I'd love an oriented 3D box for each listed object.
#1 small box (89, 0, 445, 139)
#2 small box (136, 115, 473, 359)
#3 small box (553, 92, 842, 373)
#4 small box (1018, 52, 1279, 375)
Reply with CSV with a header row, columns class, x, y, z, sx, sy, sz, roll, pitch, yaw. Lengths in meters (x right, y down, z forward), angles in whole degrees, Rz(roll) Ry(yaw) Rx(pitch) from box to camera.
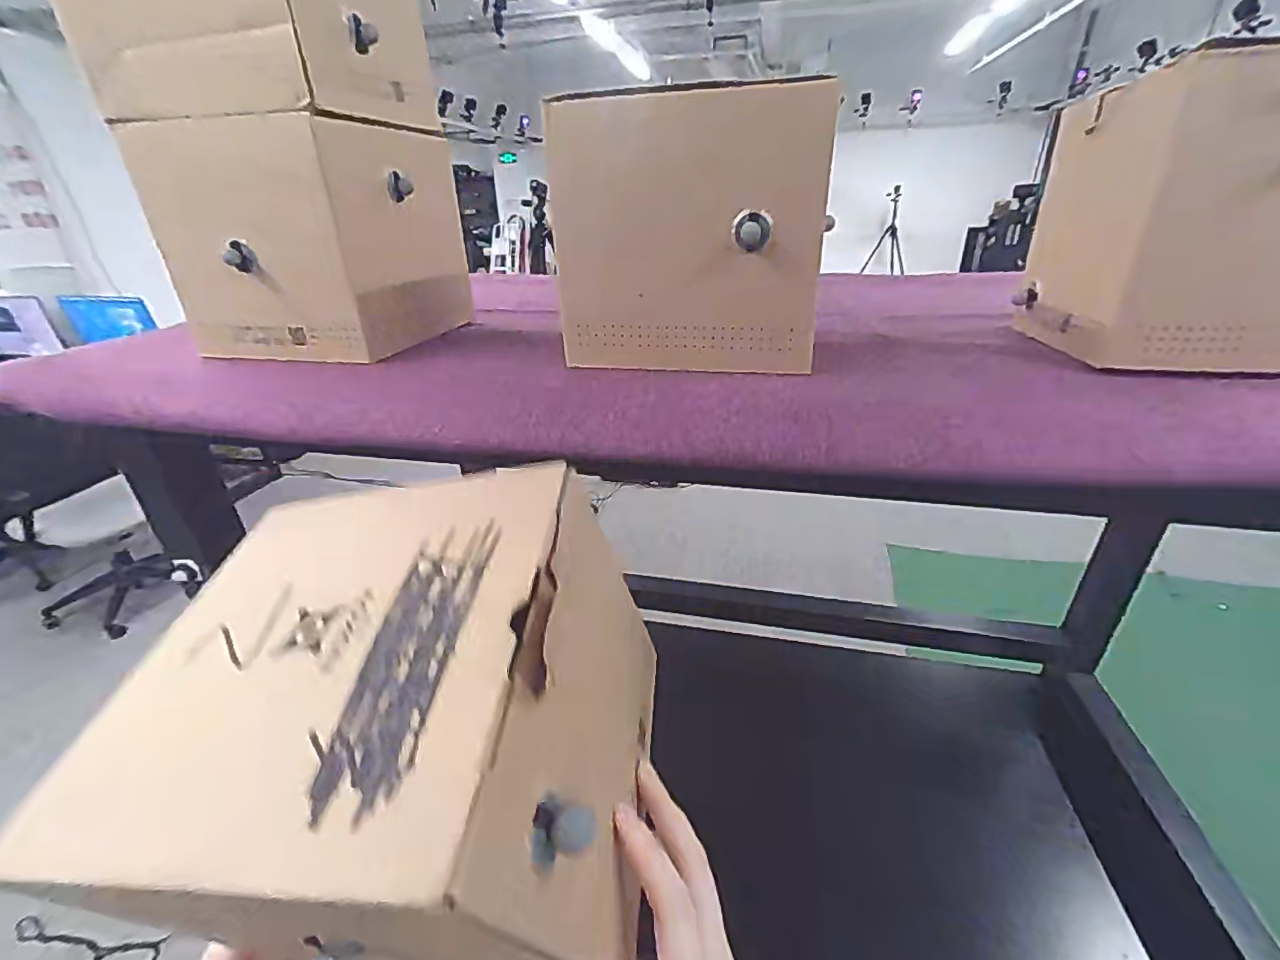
class,x,y,z,sx,sy,sz,roll,pitch,yaw
small box,-0.275,-0.355,0.409,0.179,0.176,0.168,4,28,9
small box,-0.267,-0.211,0.483,0.168,0.176,0.179,5,27,10
small box,0.048,-0.185,0.425,0.179,0.176,0.168,3,26,11
small box,0.393,-0.170,0.372,0.179,0.176,0.168,5,25,13
